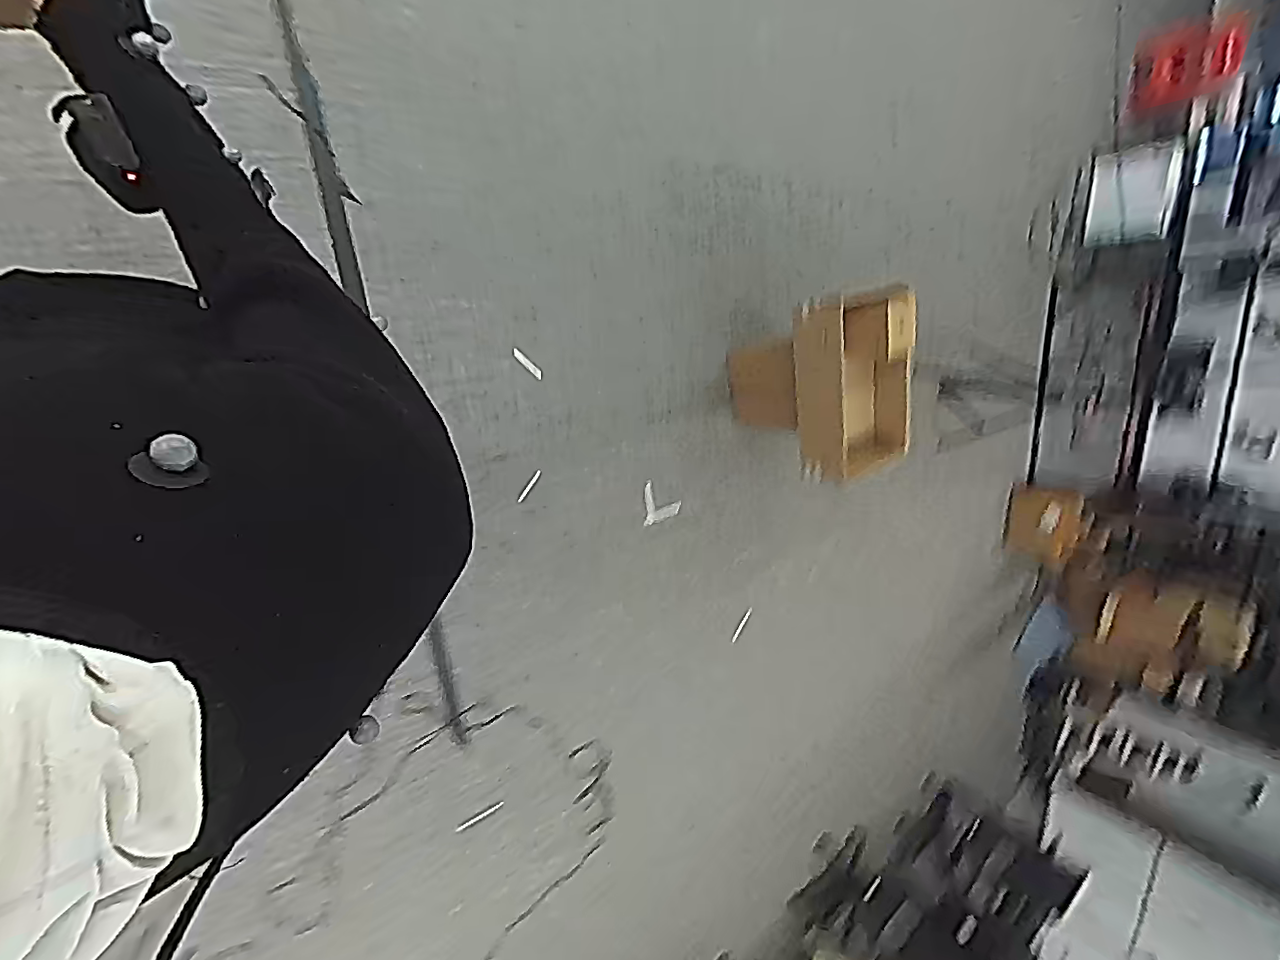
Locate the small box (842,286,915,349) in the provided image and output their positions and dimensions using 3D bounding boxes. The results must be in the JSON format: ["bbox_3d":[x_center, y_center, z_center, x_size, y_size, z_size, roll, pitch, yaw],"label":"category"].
[{"bbox_3d":[0.815,-0.556,1.852,0.168,0.176,0.179,-24,114,-29],"label":"small box"}]
